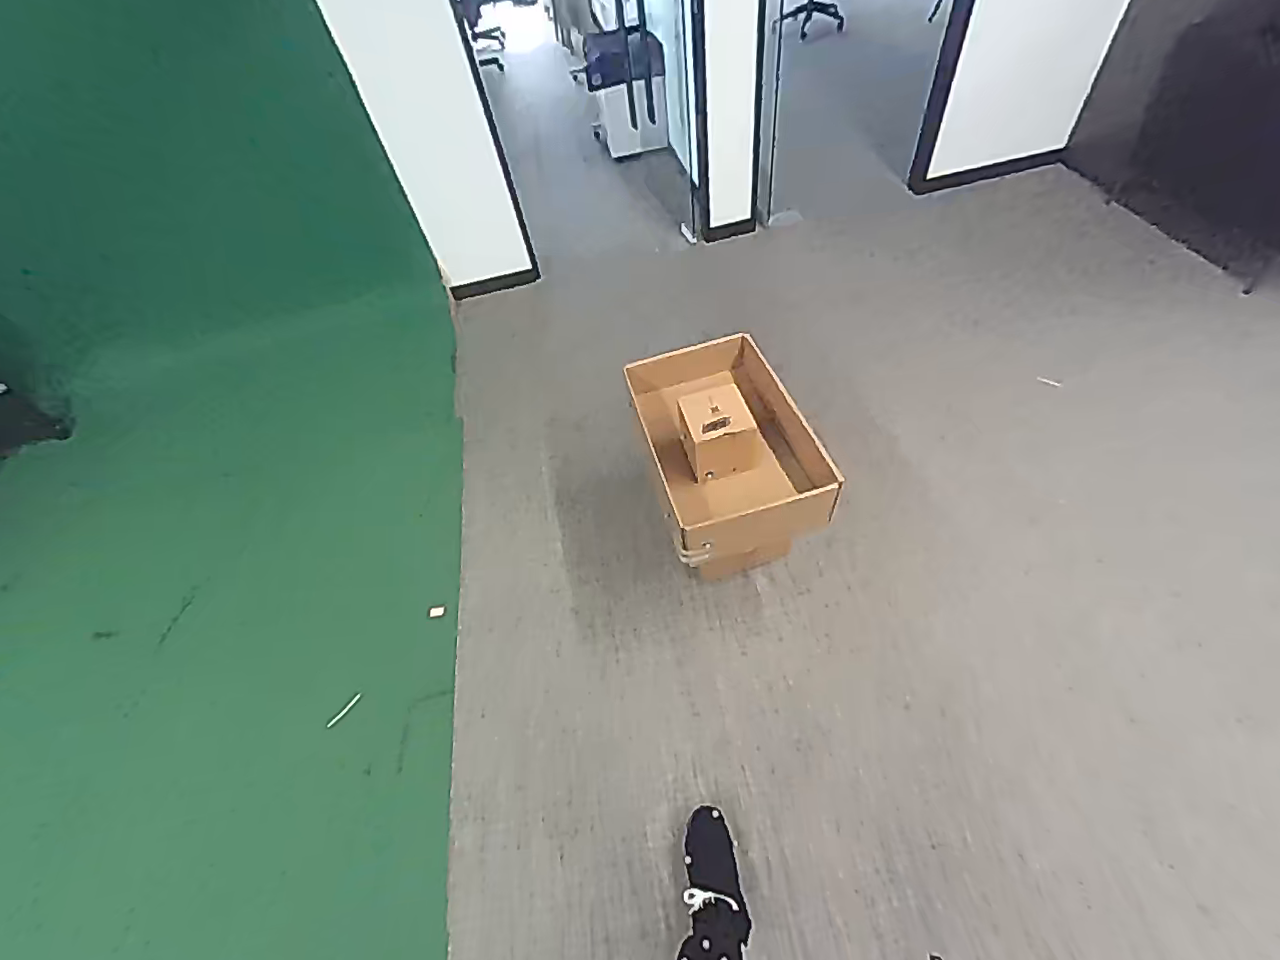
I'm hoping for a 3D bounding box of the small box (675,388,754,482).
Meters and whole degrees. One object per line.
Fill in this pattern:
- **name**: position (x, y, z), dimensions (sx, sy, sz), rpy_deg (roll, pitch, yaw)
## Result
- **small box**: position (0.200, -0.114, 1.454), dimensions (0.168, 0.176, 0.179), rpy_deg (-15, 50, -3)
